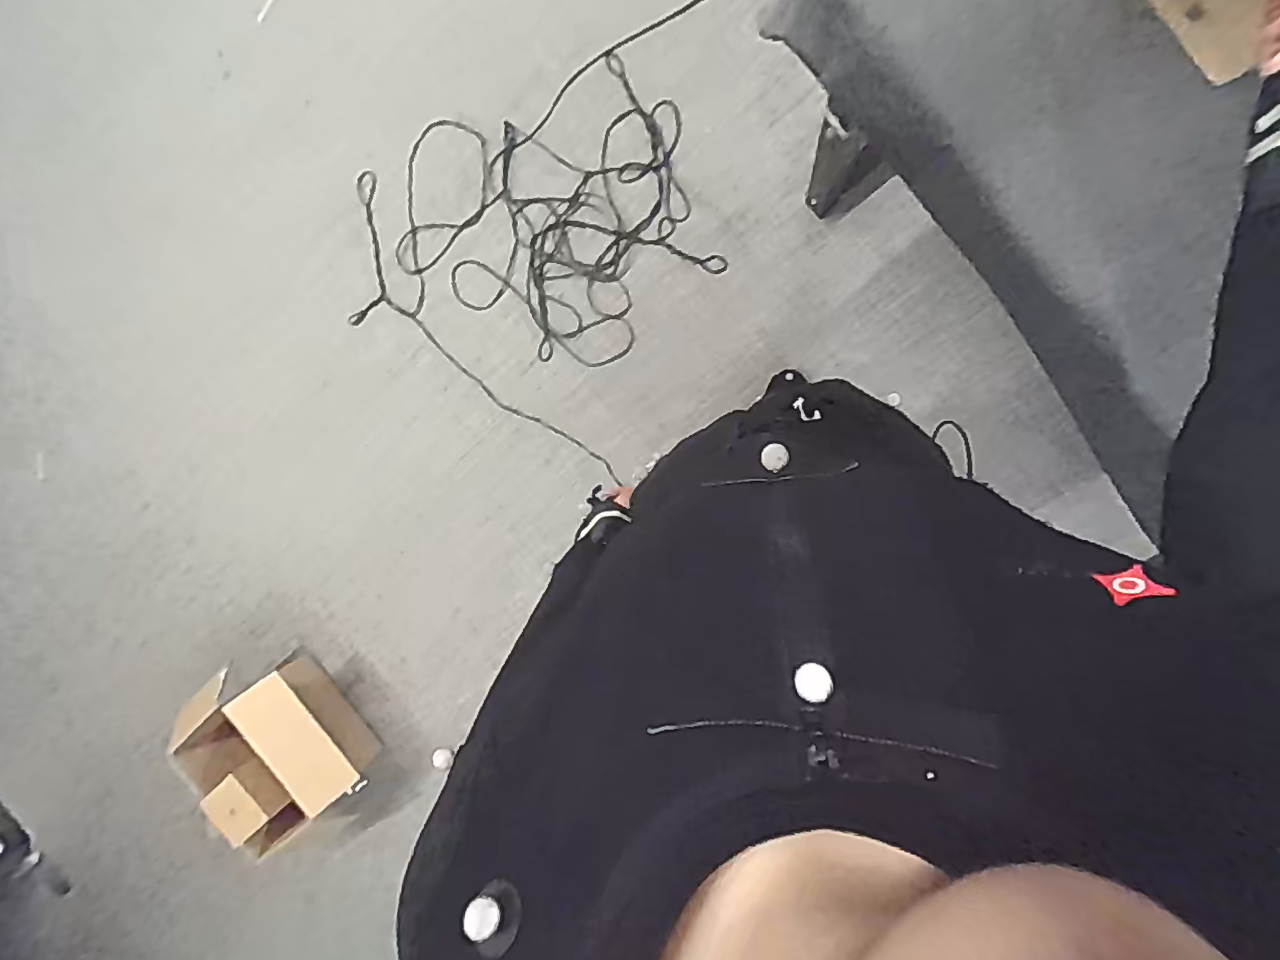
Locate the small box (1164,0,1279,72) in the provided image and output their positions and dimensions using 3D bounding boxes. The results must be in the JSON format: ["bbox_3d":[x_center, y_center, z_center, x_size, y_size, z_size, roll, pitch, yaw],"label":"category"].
[{"bbox_3d":[0.480,-0.432,0.355,0.179,0.176,0.168,-39,91,16],"label":"small box"}]

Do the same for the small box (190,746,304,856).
[{"bbox_3d":[-1.115,0.912,1.547,0.179,0.176,0.168,-41,89,15],"label":"small box"}]
